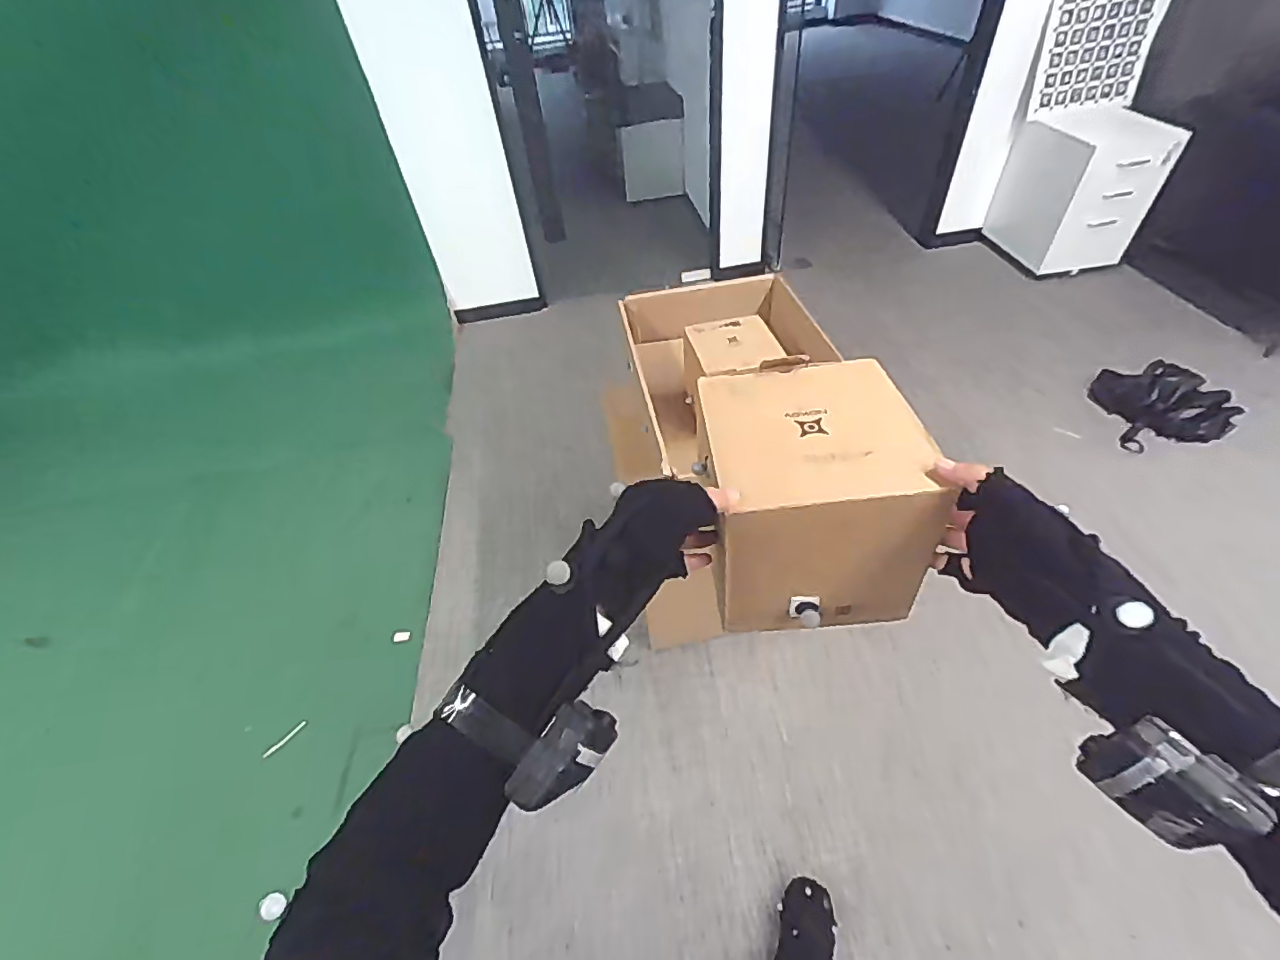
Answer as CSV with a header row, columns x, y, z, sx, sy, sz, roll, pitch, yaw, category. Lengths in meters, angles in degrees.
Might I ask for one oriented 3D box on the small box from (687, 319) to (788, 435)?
x,y,z,sx,sy,sz,roll,pitch,yaw,category
0.198,-0.209,1.138,0.168,0.176,0.179,-10,47,-4,small box
